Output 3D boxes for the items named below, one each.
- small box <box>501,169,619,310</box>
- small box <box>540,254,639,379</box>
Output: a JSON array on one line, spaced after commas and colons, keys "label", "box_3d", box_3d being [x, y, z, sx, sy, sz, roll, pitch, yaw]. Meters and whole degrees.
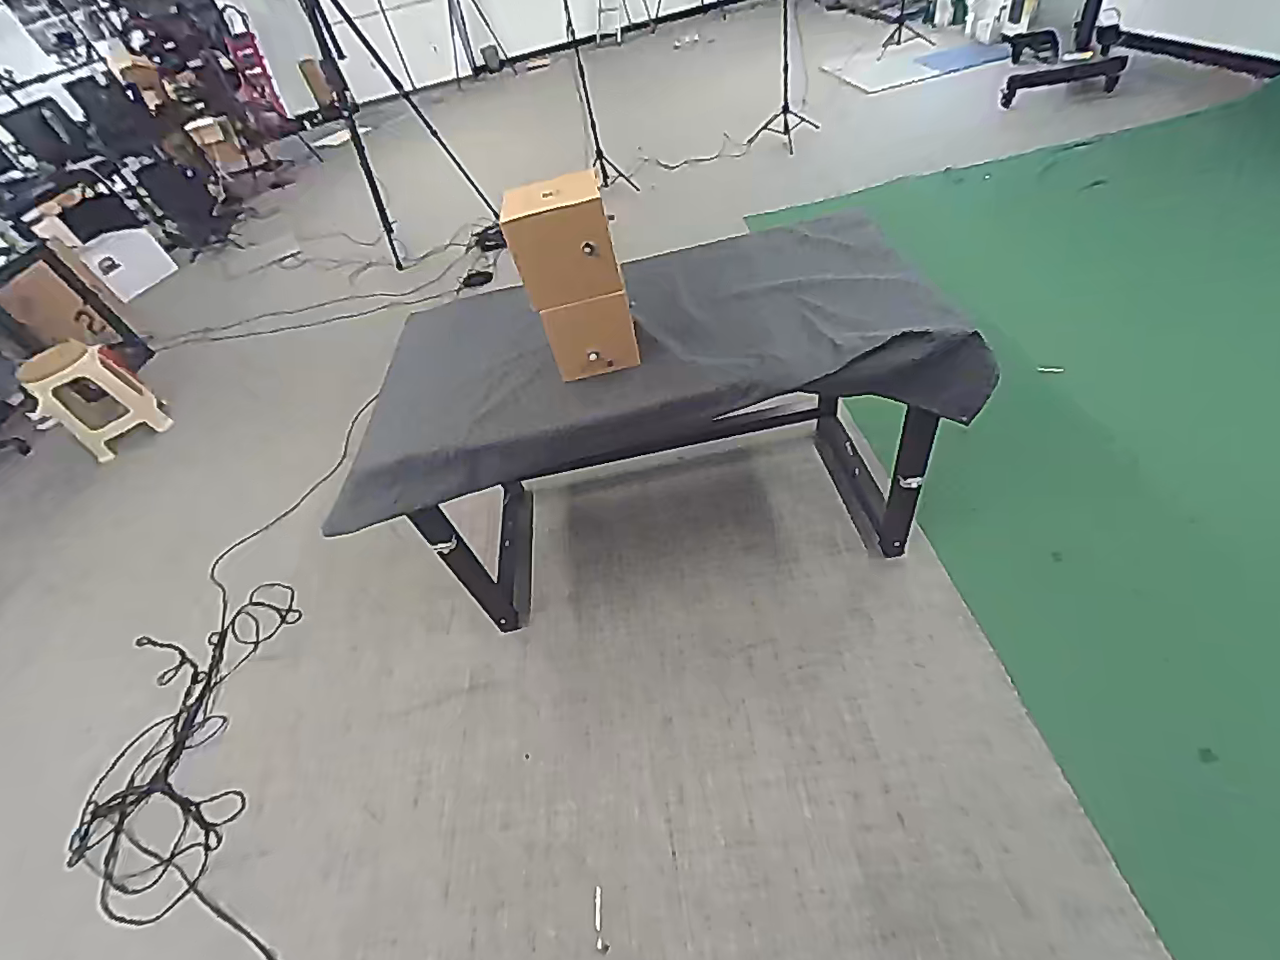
[{"label": "small box", "box_3d": [-0.140, -0.444, 1.004, 0.179, 0.176, 0.168, -14, 45, 4]}, {"label": "small box", "box_3d": [-0.103, -0.338, 1.122, 0.168, 0.176, 0.179, -12, 47, 4]}]
